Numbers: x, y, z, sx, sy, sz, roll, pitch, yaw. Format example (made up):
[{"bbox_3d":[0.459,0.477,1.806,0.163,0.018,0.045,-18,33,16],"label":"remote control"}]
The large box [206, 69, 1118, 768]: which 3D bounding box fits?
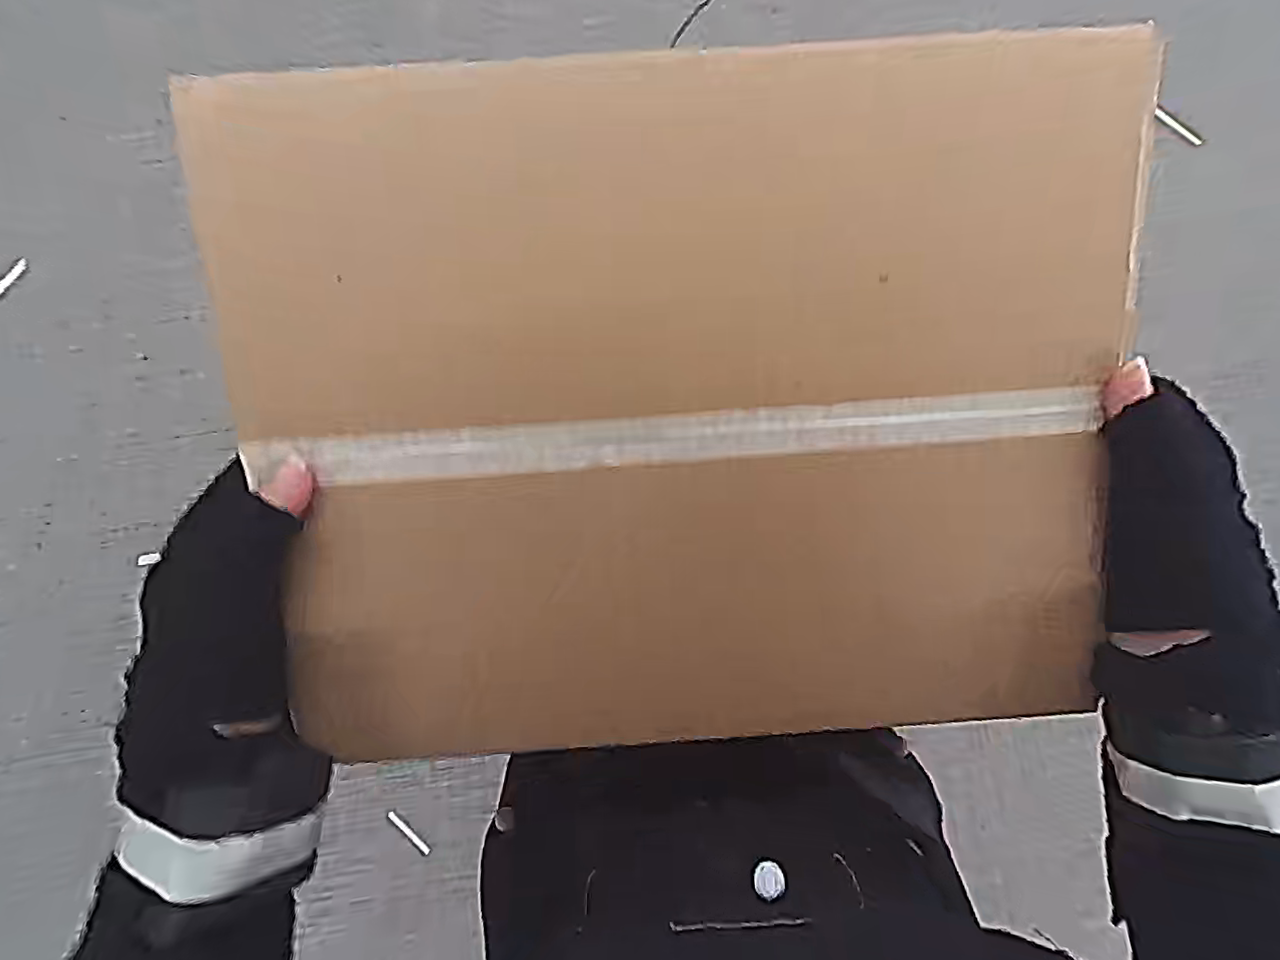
[{"bbox_3d":[0.019,-0.040,0.406,0.408,0.320,0.320,-4,100,0],"label":"large box"}]
